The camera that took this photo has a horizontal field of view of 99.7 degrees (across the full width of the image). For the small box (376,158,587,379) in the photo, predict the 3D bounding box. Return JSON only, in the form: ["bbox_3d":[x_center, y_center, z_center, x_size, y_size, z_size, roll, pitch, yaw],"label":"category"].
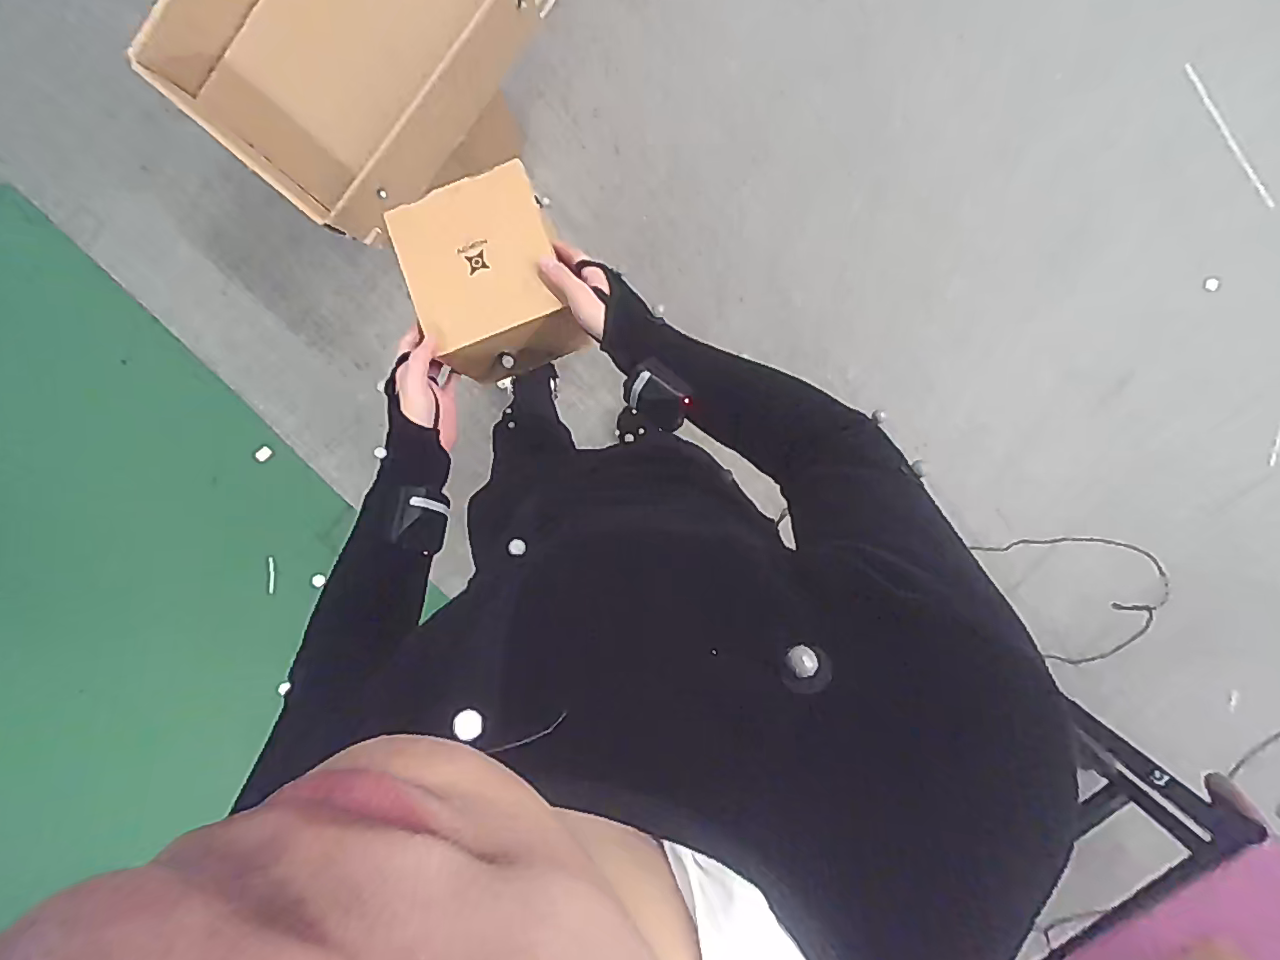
[{"bbox_3d":[-0.176,-0.234,0.654,0.168,0.176,0.179,-20,87,3],"label":"small box"}]
